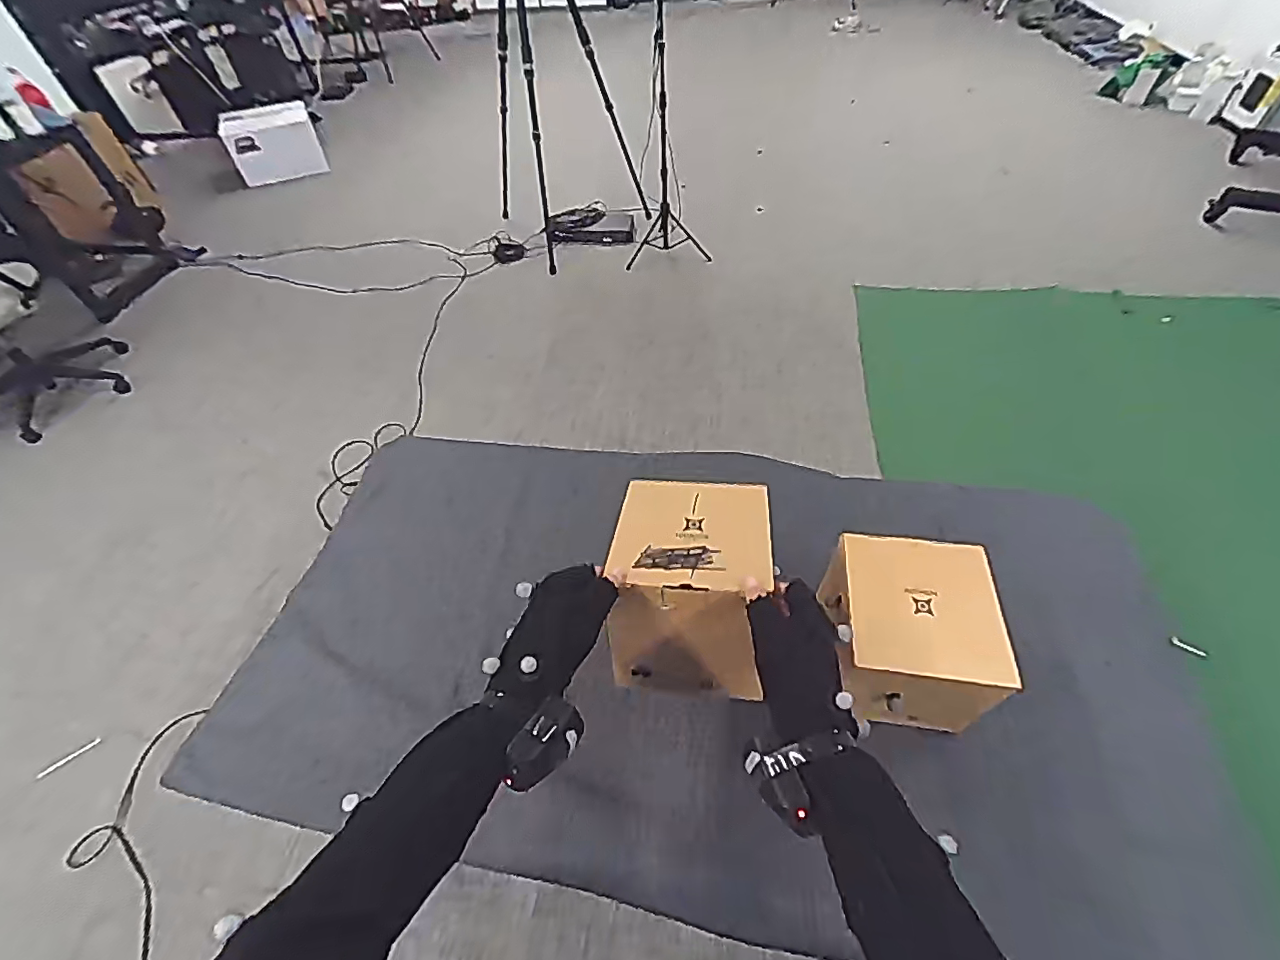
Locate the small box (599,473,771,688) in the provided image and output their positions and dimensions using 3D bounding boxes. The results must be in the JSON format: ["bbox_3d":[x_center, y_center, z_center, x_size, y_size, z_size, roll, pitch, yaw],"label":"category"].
[{"bbox_3d":[0.059,0.111,0.614,0.168,0.176,0.179,2,36,9],"label":"small box"}]

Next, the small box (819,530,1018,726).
[{"bbox_3d":[0.324,0.187,0.672,0.168,0.176,0.179,5,50,9],"label":"small box"}]
